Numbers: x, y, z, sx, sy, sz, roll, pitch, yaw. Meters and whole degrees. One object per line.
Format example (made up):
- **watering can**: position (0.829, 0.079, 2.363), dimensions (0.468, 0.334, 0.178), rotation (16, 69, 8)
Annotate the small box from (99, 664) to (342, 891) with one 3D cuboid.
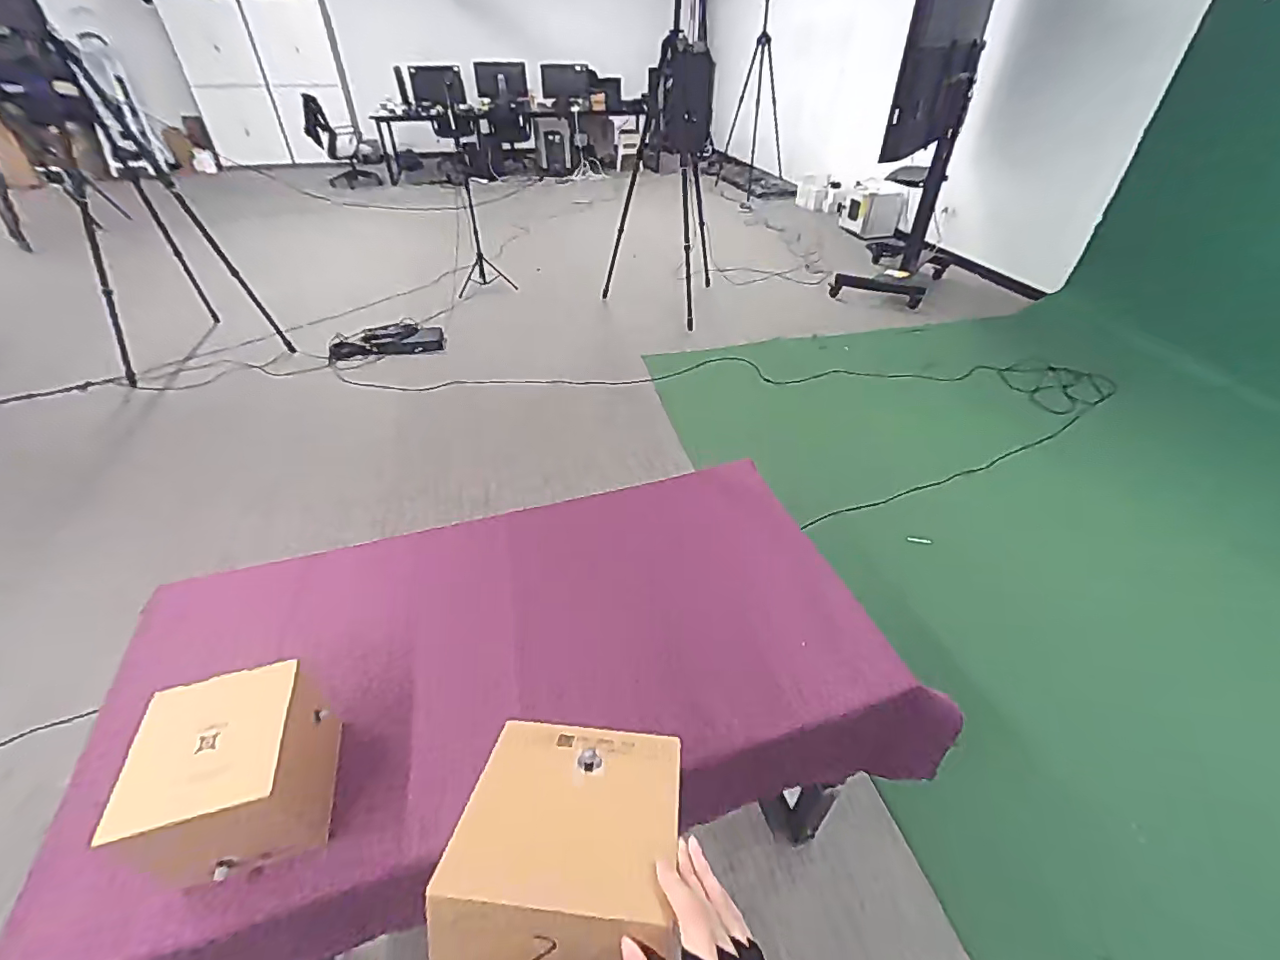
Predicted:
- **small box**: position (-0.496, 0.369, 0.678), dimensions (0.168, 0.176, 0.179), rotation (-11, 41, -12)
